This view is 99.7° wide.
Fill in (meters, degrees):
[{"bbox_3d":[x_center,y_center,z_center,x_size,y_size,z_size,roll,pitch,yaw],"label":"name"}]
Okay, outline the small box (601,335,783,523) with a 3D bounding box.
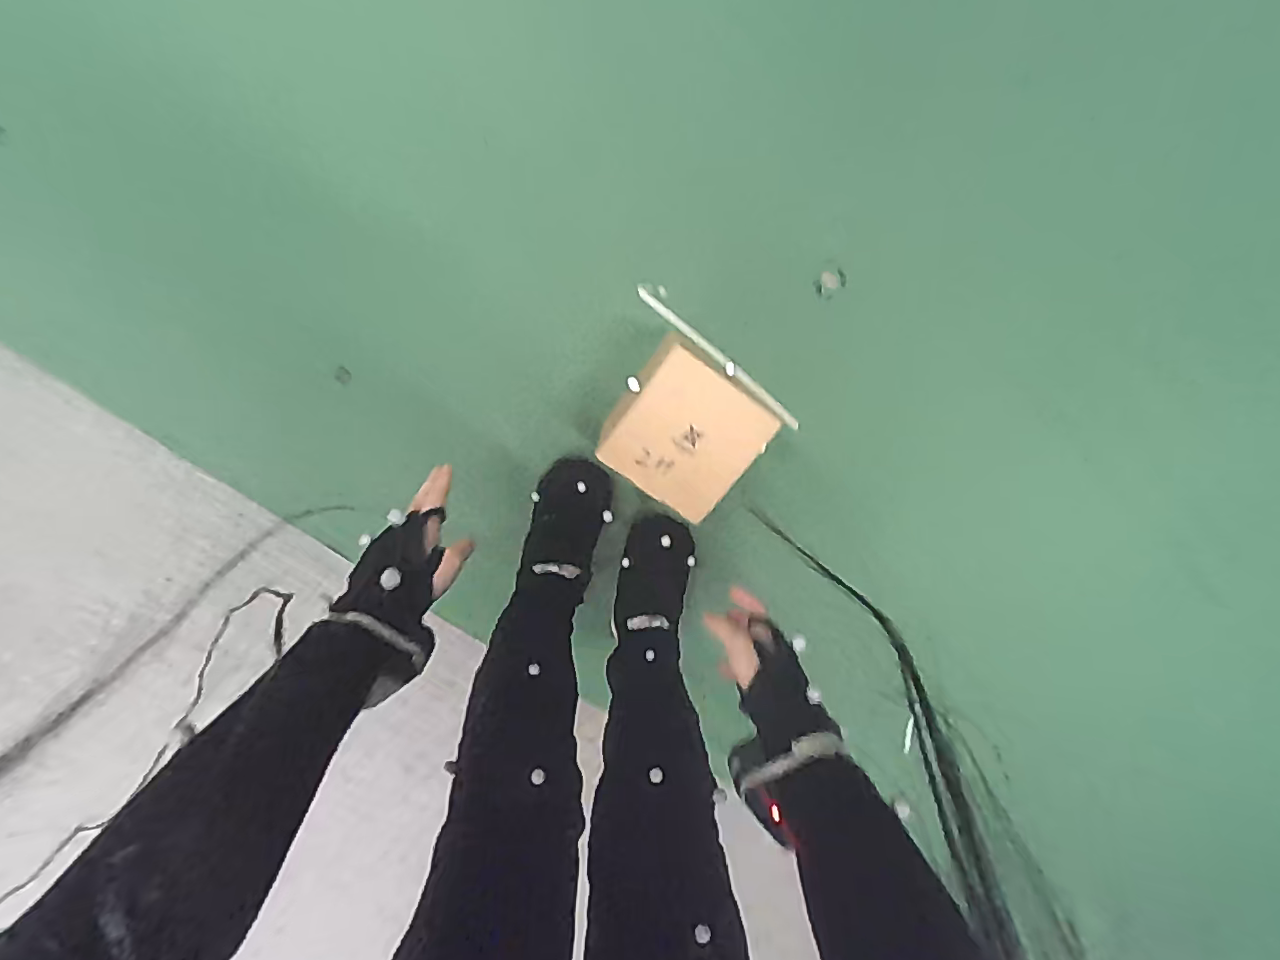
[{"bbox_3d":[0.063,-0.080,0.748,0.168,0.176,0.179,35,108,-12],"label":"small box"}]
